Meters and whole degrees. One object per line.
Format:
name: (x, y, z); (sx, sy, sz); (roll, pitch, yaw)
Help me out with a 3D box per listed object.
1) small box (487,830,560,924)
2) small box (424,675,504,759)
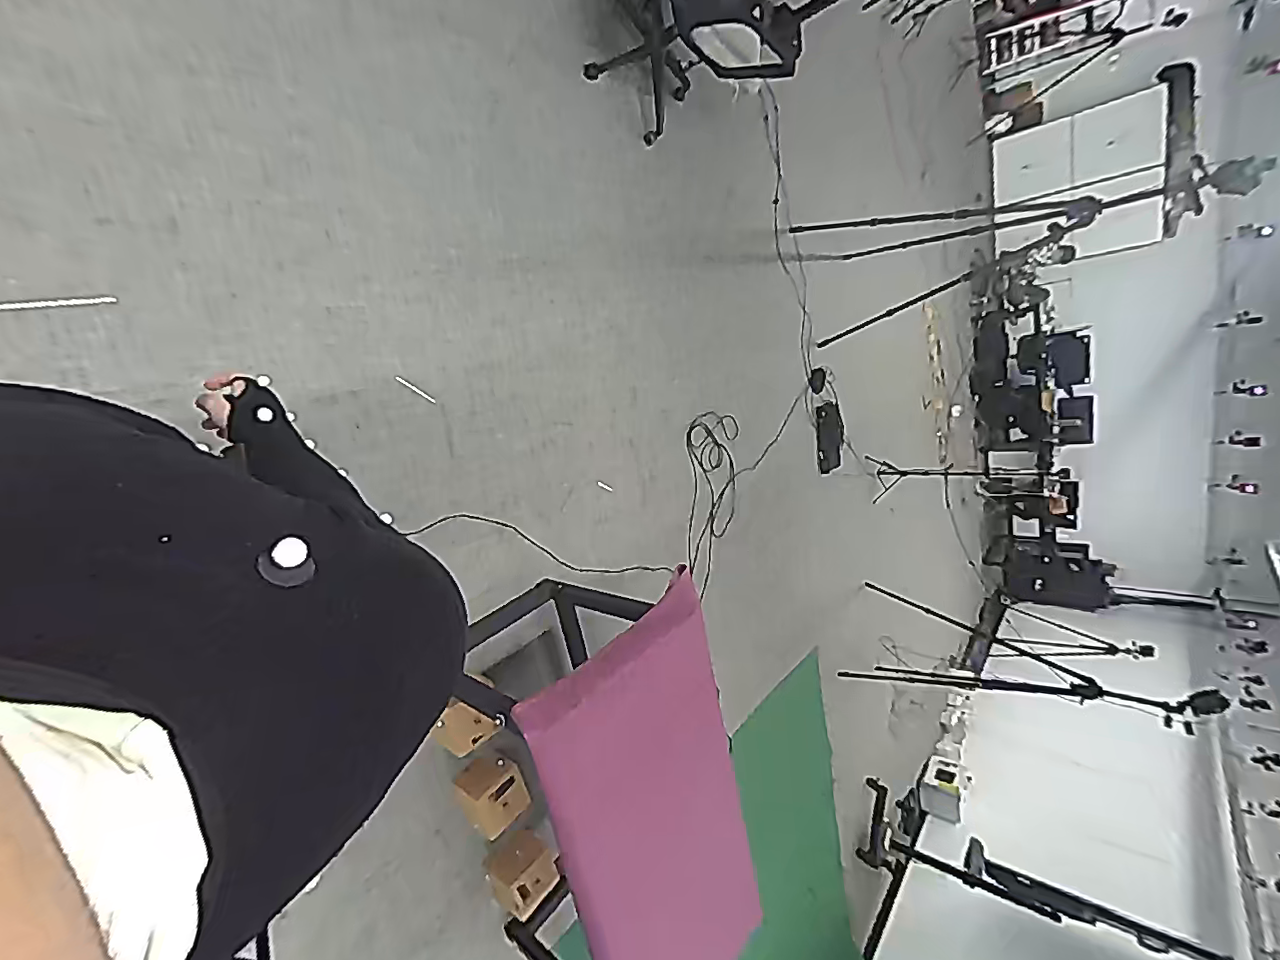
small box: (-0.420, 1.401, 1.921); (0.179, 0.176, 0.168); (-30, 113, -44)
small box: (-0.571, 0.753, 1.747); (0.168, 0.176, 0.179); (-22, 106, -45)
